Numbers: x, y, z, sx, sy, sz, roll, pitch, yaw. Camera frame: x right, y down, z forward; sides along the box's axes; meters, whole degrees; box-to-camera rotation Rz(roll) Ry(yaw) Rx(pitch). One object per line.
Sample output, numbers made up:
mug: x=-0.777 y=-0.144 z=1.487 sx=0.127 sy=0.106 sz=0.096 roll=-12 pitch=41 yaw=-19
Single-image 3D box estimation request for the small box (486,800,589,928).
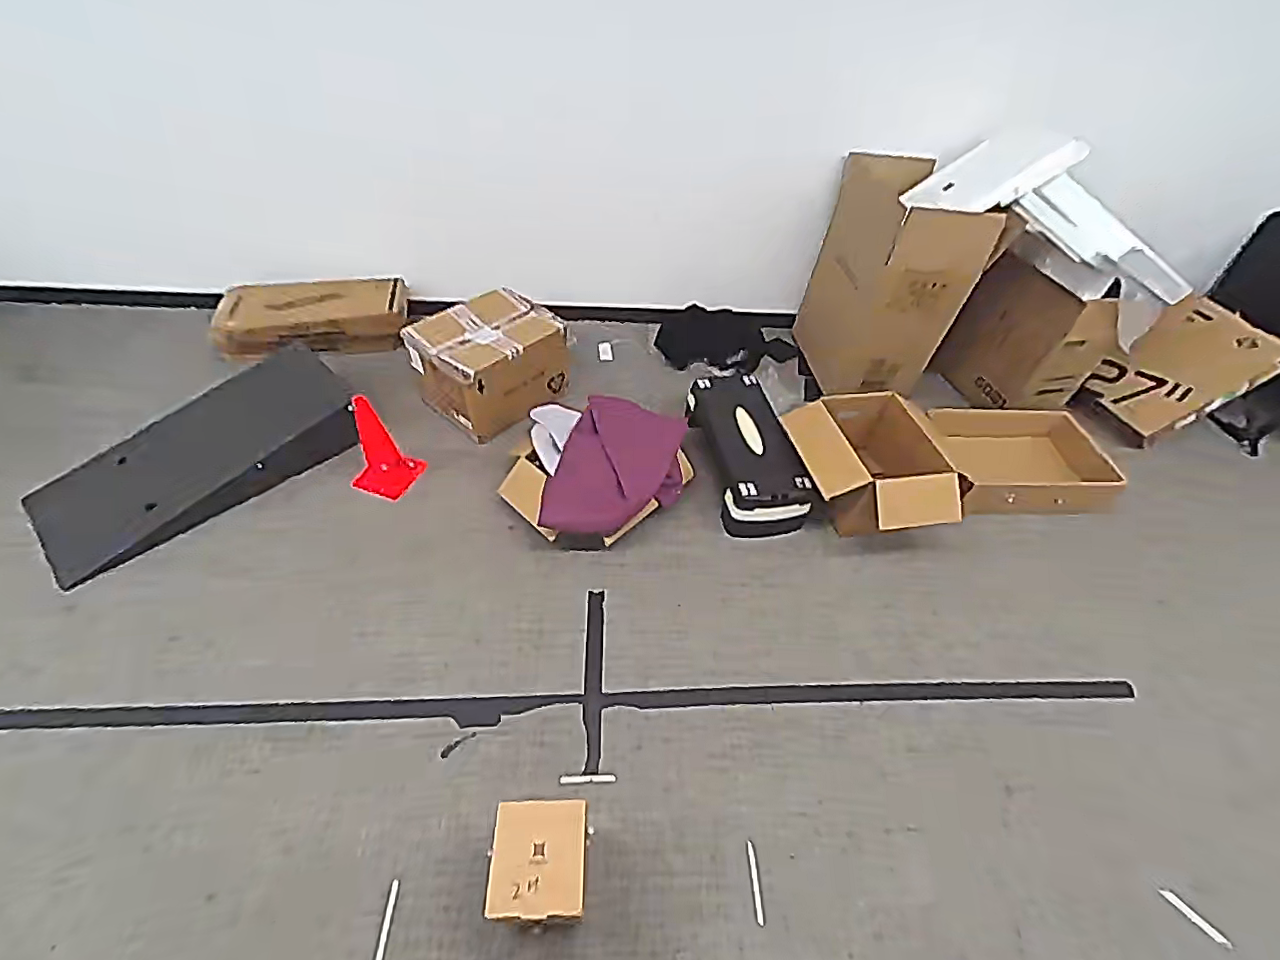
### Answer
small box: x=-0.183 y=0.727 z=1.023 sx=0.168 sy=0.176 sz=0.179 roll=0 pitch=48 yaw=-3
